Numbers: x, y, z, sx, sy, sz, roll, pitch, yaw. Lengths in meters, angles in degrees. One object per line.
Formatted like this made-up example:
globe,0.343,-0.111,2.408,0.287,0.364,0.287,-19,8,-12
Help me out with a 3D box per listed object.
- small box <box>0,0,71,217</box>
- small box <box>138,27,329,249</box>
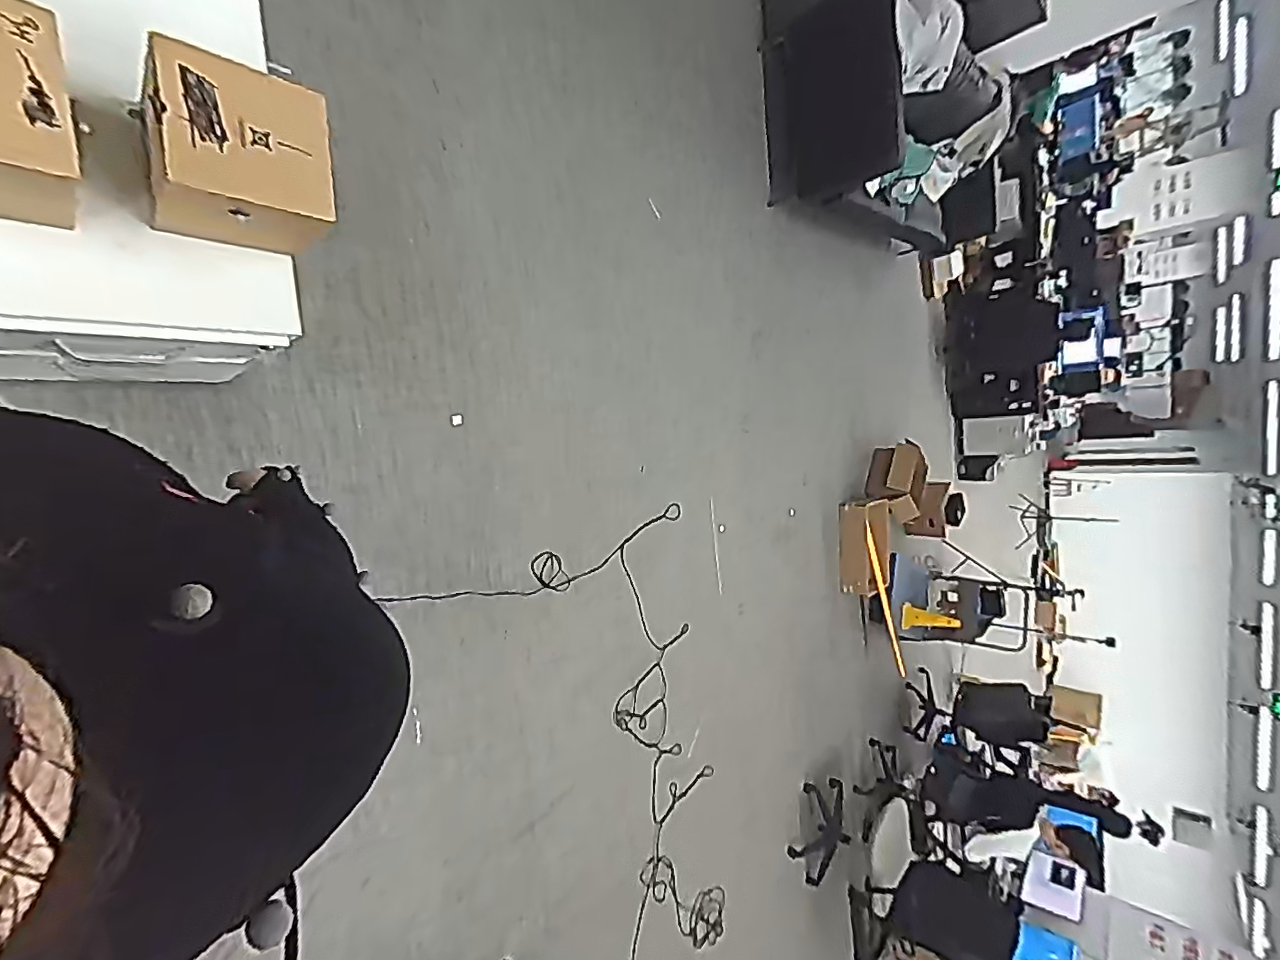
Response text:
small box,-0.701,-0.385,0.536,0.179,0.176,0.168,-9,97,-48
small box,-0.538,-0.425,0.713,0.179,0.176,0.168,-7,95,-47
